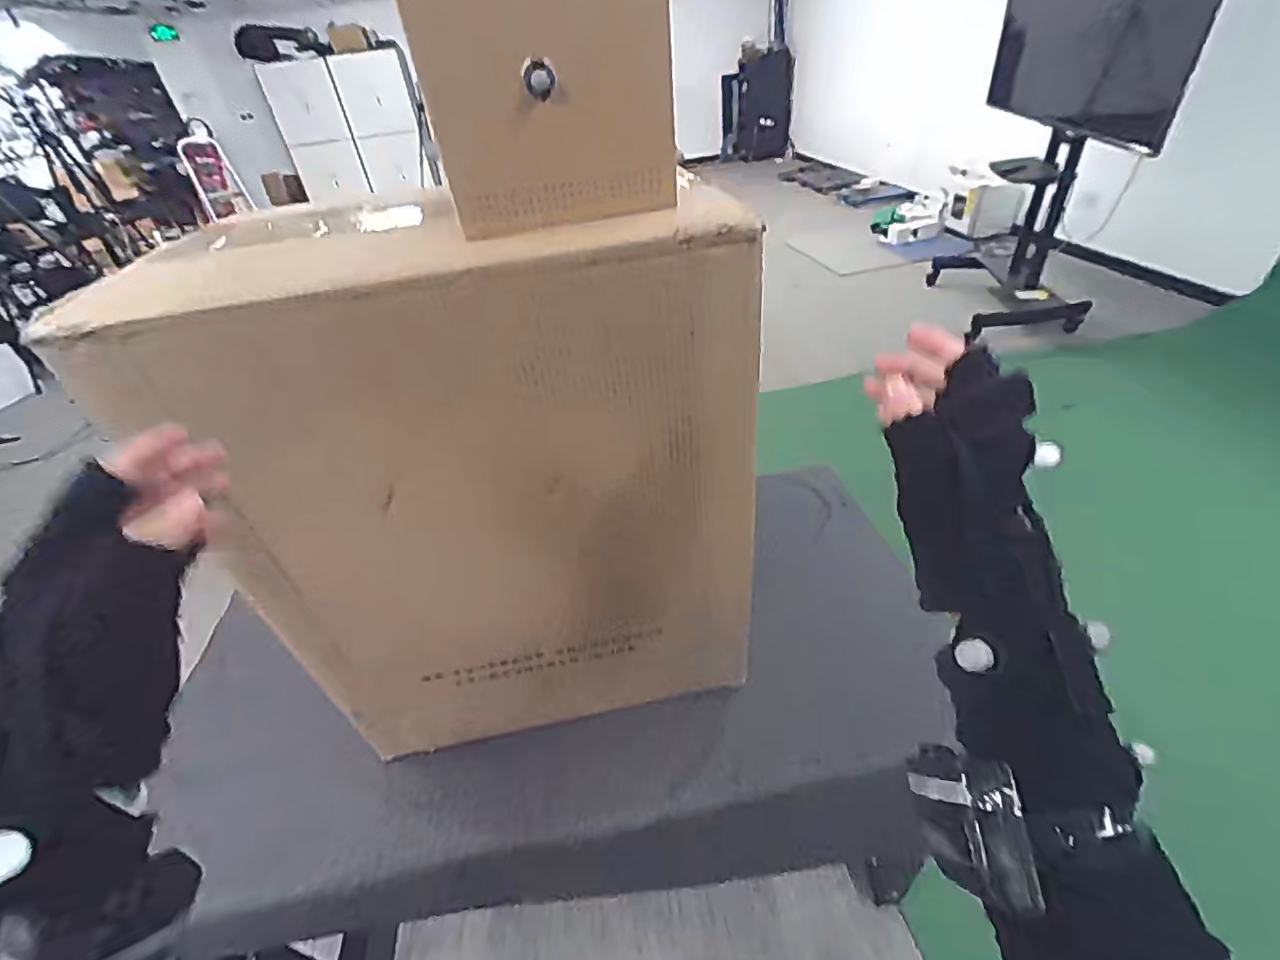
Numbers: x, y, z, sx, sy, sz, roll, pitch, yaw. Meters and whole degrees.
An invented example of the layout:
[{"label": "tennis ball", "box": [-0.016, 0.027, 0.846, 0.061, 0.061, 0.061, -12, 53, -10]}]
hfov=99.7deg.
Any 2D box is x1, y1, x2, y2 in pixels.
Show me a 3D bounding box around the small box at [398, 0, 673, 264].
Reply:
[{"label": "small box", "box": [-0.075, -0.298, 0.451, 0.179, 0.176, 0.168, -12, 40, -7]}]
